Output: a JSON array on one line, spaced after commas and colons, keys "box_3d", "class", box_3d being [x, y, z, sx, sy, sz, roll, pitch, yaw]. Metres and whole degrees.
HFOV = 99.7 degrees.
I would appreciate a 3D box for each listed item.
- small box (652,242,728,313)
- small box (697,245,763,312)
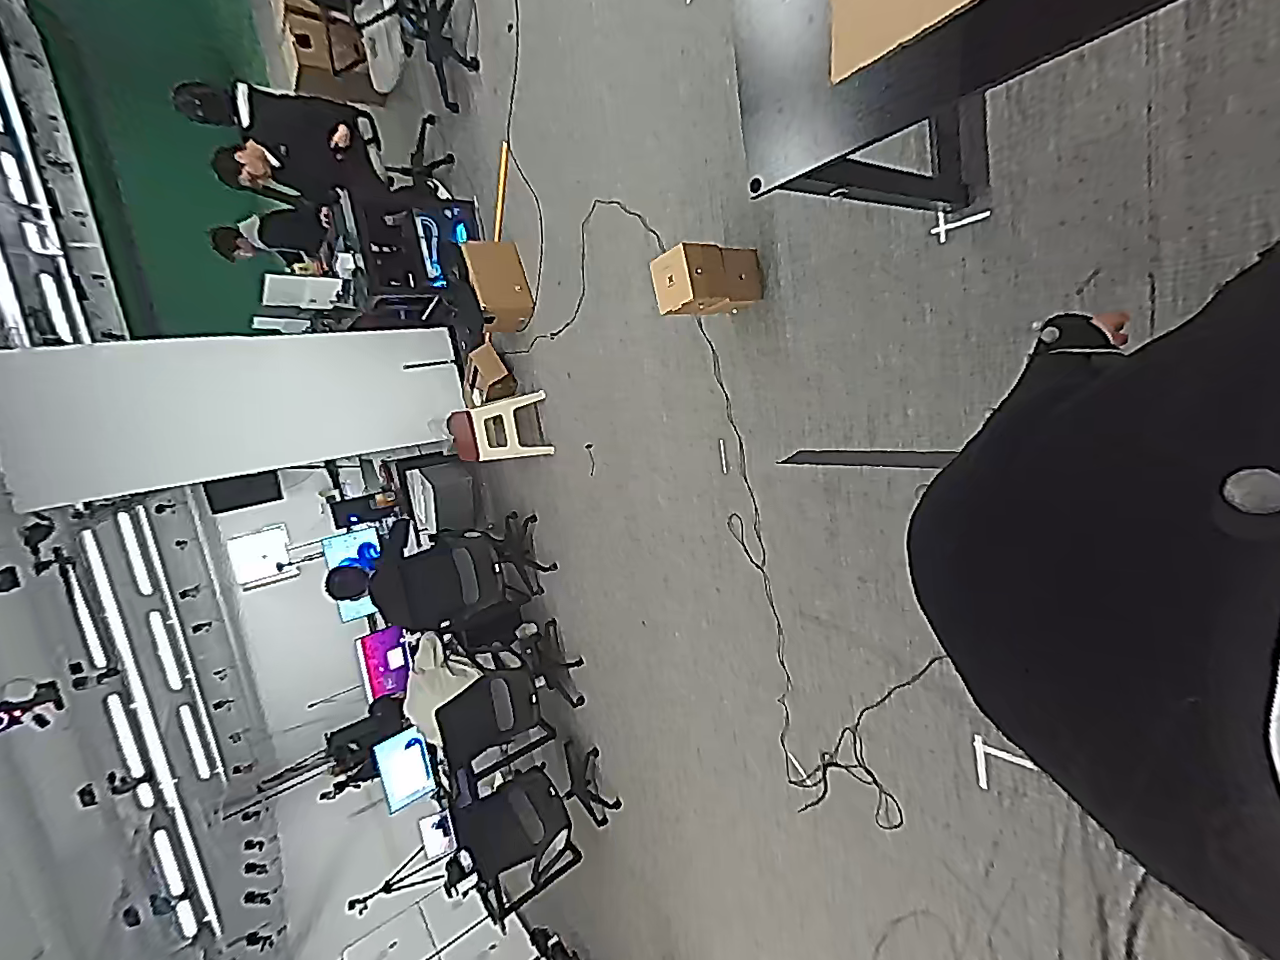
[{"box_3d": [0.166, -0.653, 1.750, 0.168, 0.176, 0.179, -6, 97, 54], "class": "small box"}, {"box_3d": [0.295, -0.682, 1.845, 0.168, 0.176, 0.179, -2, 102, 54], "class": "small box"}]
